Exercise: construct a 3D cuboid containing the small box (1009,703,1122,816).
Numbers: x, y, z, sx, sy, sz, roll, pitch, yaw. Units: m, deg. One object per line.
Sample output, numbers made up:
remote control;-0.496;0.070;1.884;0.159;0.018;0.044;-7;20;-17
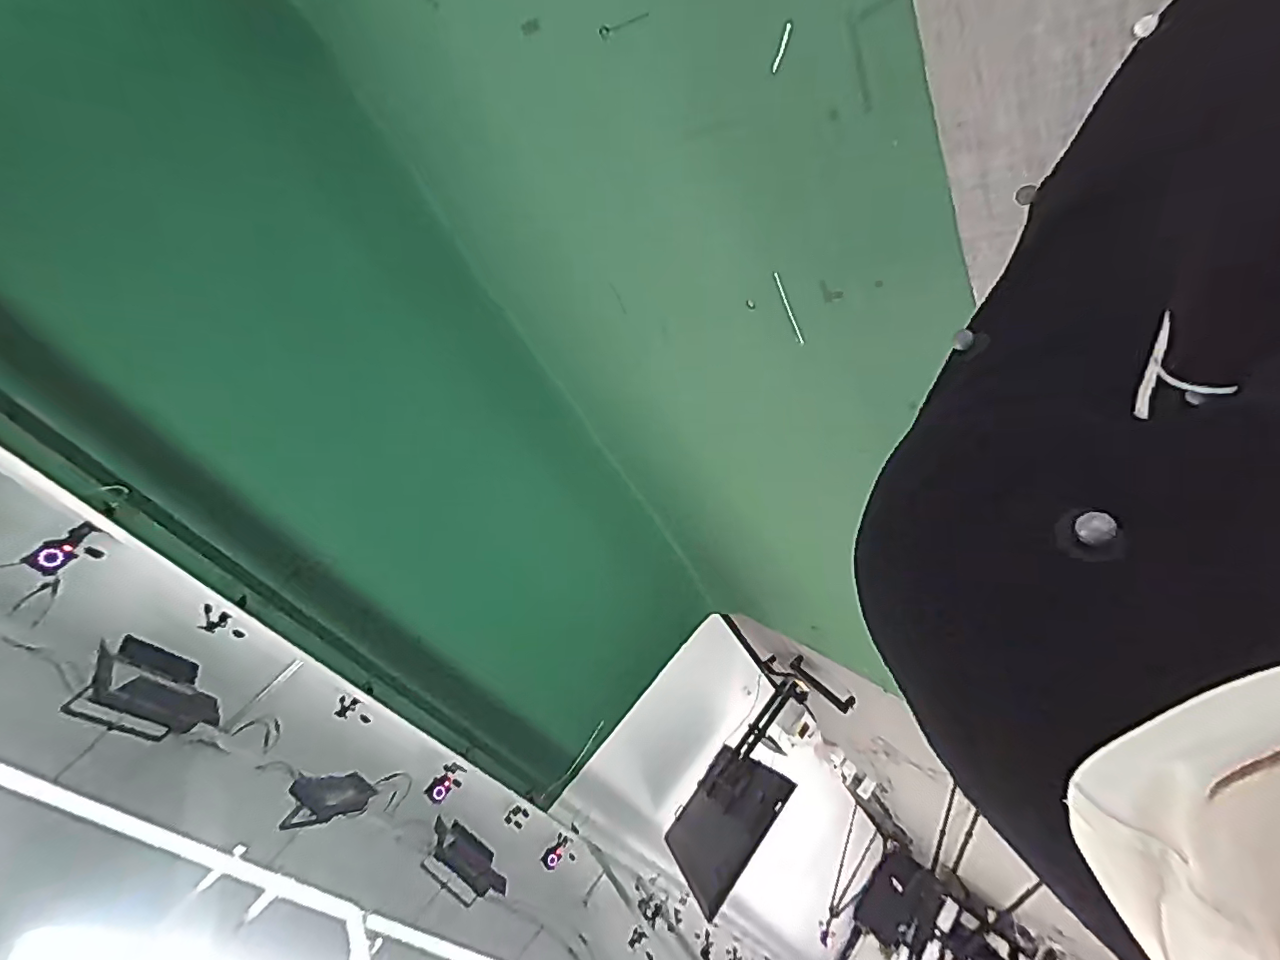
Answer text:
small box;1.072;0.694;1.366;0.179;0.176;0.168;20;152;50
